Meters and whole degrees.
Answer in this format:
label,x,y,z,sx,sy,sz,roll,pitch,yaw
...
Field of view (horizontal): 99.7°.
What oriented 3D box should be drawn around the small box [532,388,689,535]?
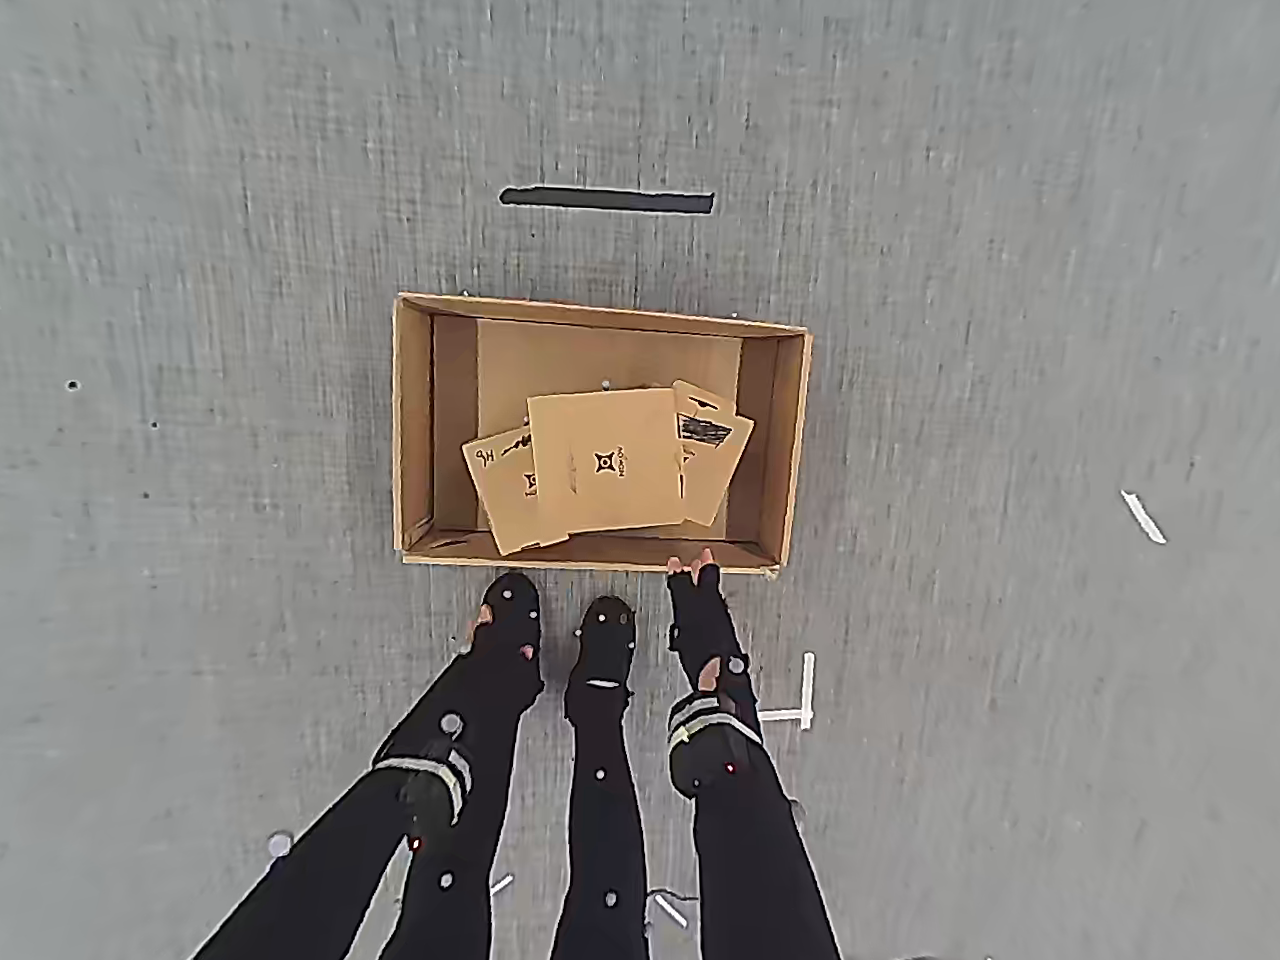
label,x,y,z,sx,sy,sz,roll,pitch,yaw
small box,-0.039,-0.034,0.711,0.179,0.176,0.168,-5,99,-4
